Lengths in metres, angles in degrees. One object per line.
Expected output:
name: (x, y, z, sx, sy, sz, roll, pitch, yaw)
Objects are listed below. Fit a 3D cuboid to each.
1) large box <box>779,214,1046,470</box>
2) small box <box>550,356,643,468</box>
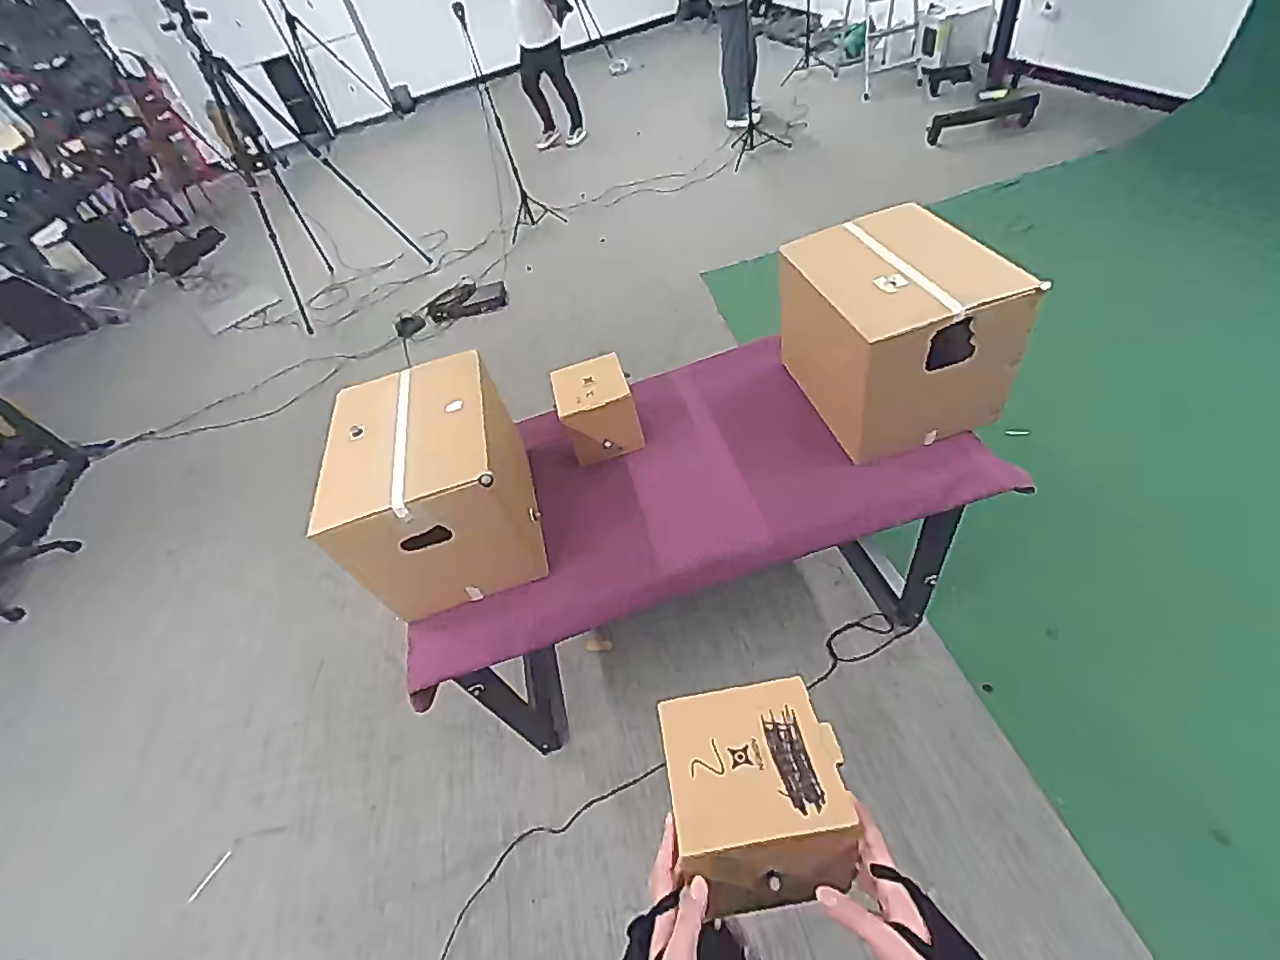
large box: (0.517, -0.296, 1.141, 0.320, 0.320, 0.408, -18, 47, 1)
small box: (-0.102, -0.158, 1.278, 0.168, 0.176, 0.179, -18, 47, 0)
